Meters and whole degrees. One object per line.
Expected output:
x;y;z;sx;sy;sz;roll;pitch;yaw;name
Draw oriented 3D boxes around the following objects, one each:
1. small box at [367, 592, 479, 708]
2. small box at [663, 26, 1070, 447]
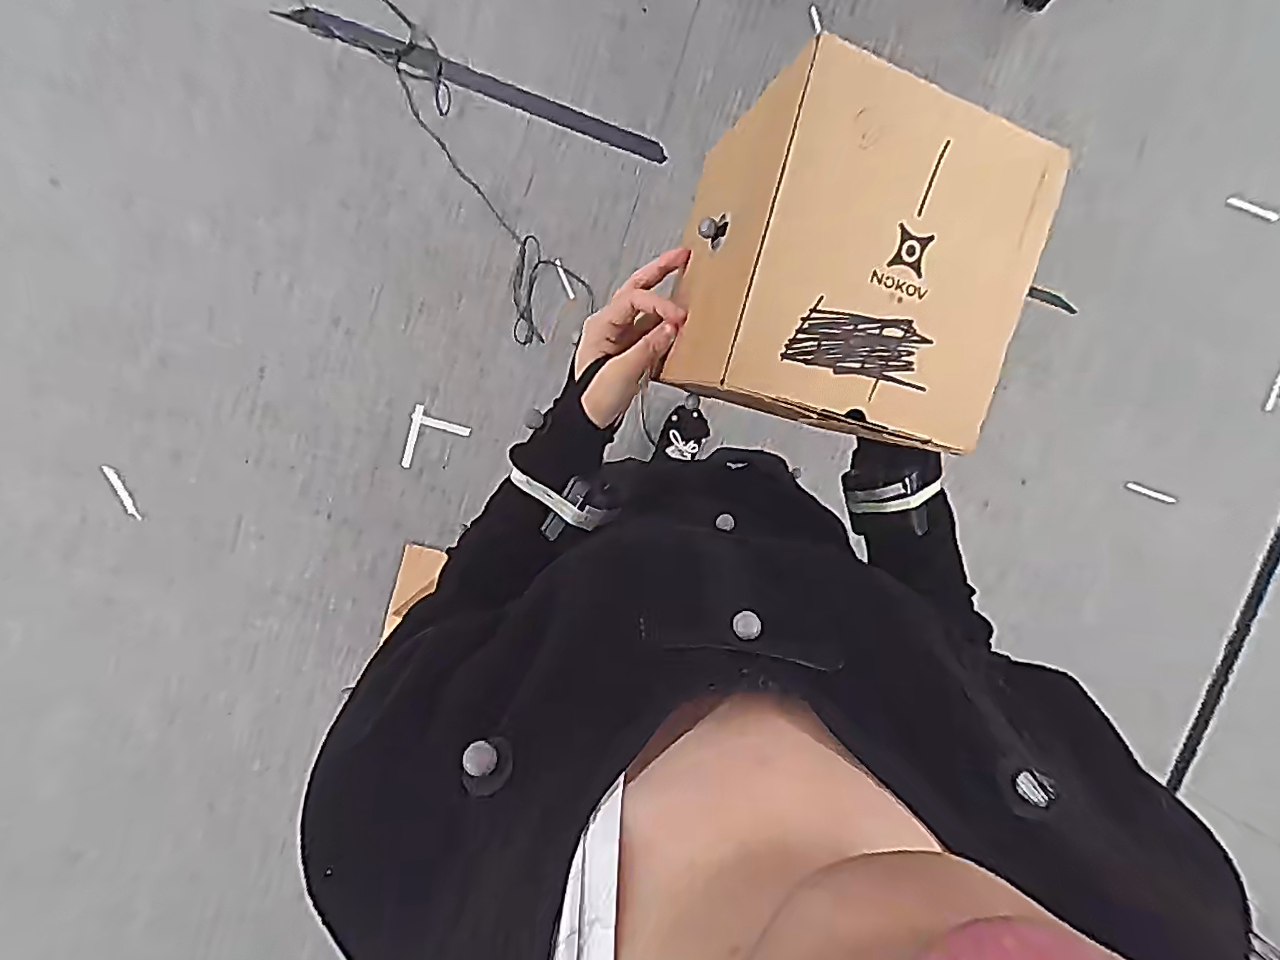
-0.494;0.386;1.255;0.168;0.176;0.179;21;93;-4;small box
0.124;-0.134;0.368;0.168;0.176;0.179;13;97;-15;small box
